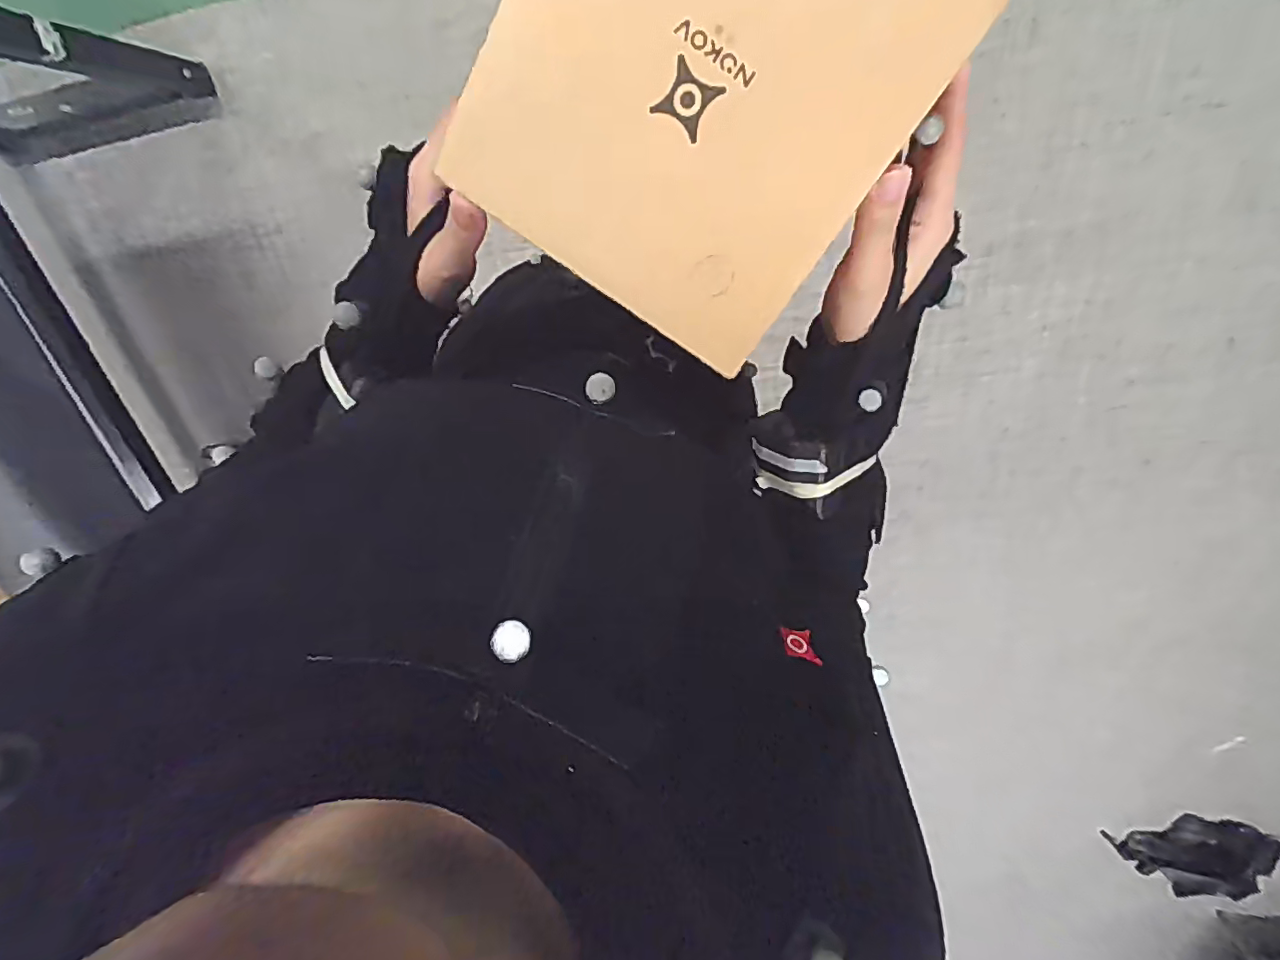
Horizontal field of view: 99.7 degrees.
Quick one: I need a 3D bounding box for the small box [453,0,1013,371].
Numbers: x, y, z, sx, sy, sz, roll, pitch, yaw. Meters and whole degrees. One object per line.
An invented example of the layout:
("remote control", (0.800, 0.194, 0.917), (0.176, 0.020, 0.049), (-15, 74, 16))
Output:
("small box", (0.037, -0.186, 0.293), (0.168, 0.176, 0.179), (32, 110, -6))
